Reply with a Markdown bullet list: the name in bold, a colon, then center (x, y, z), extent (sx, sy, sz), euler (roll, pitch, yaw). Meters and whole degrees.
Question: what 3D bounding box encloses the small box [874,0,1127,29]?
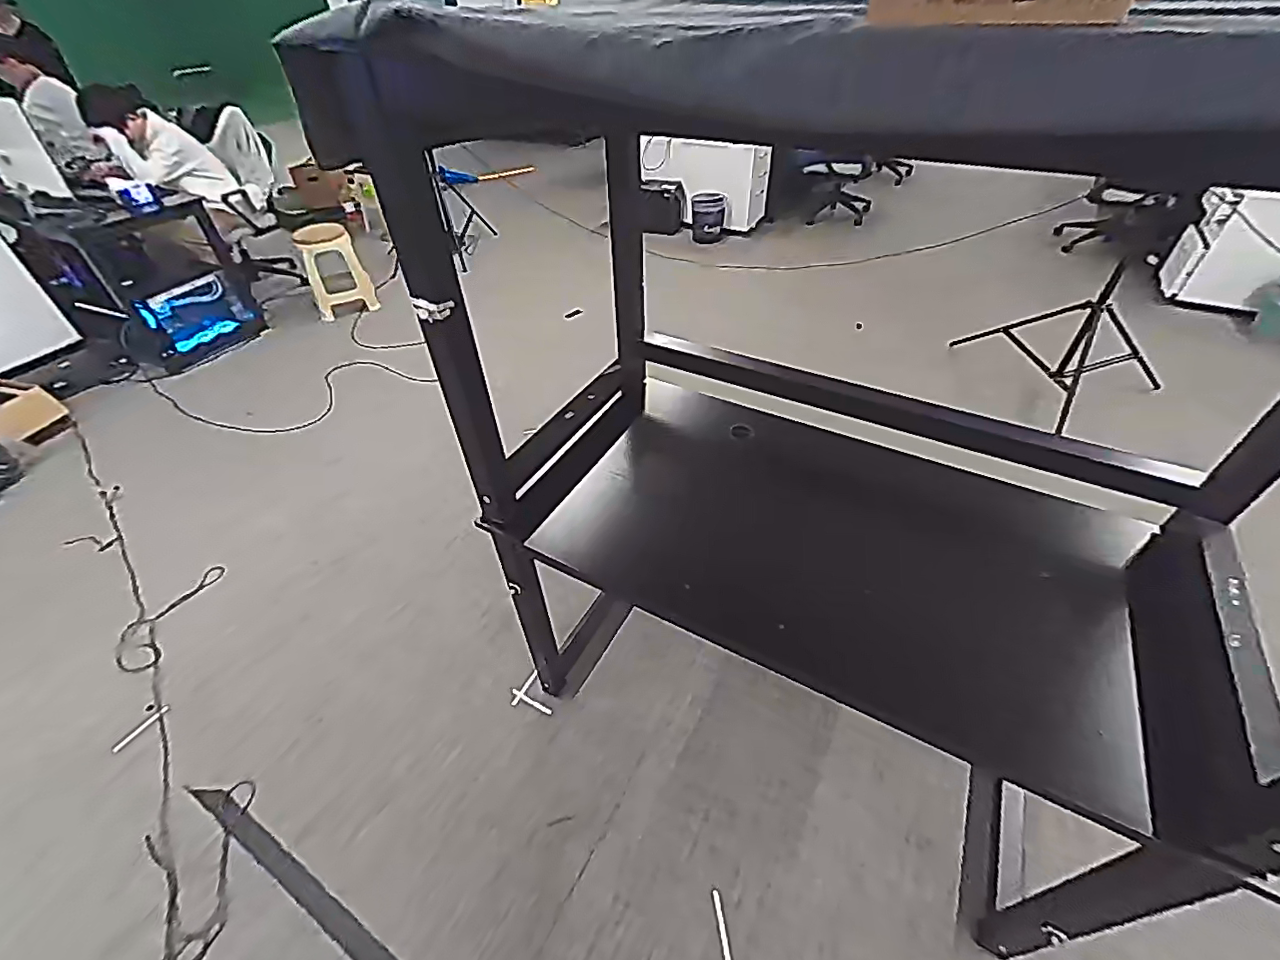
- **small box**: center (0.281, -0.433, 0.383), extent (0.168, 0.176, 0.179), euler (20, 45, 22)
